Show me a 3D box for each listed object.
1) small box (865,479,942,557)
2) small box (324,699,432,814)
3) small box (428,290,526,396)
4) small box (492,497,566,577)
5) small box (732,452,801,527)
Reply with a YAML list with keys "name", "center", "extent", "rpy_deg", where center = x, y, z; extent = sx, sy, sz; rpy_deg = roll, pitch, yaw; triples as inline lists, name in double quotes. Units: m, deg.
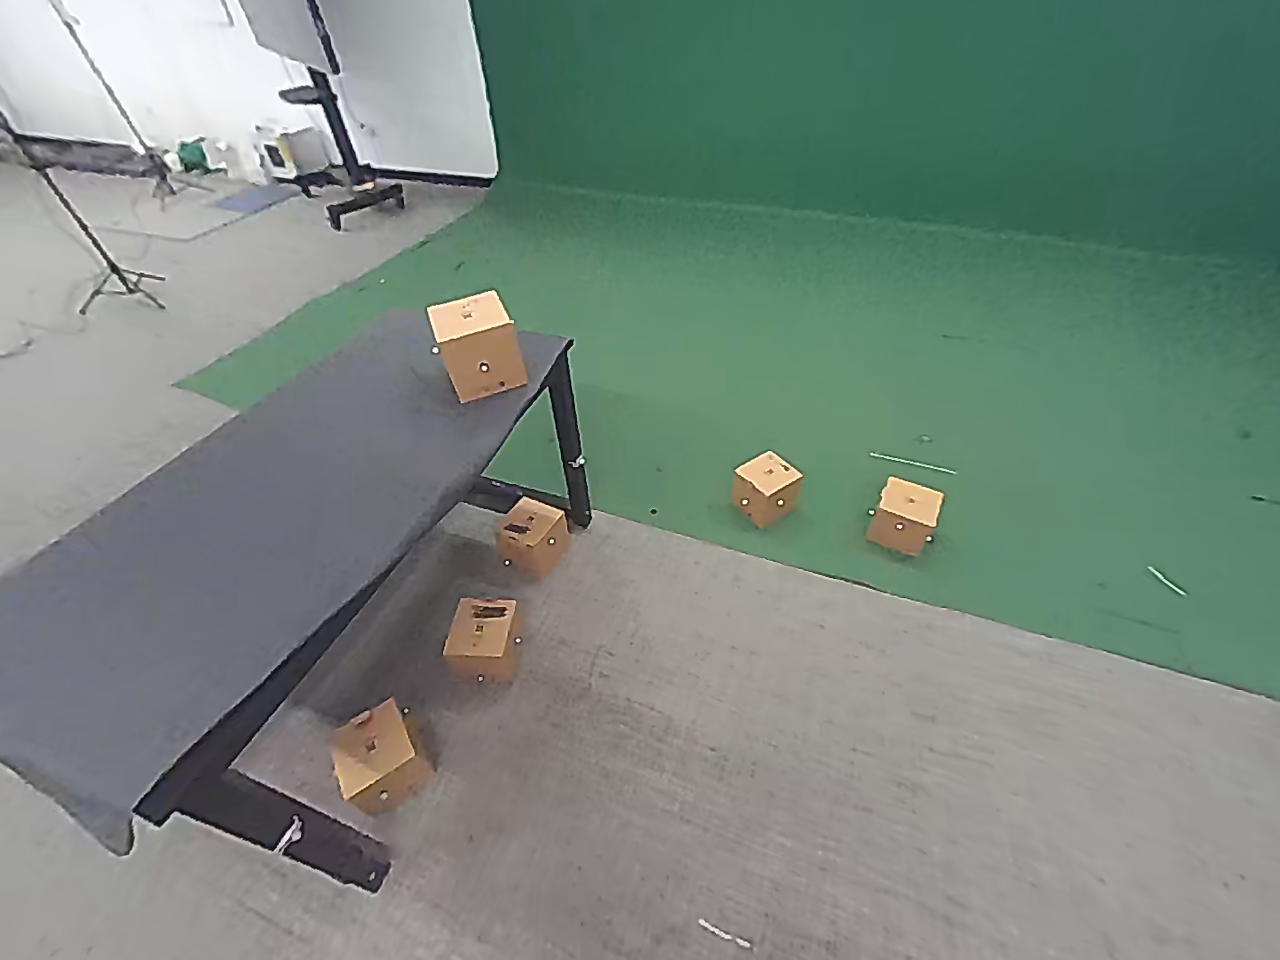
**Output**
- name: "small box"
  center: [0.881, 0.130, 1.820]
  extent: [0.179, 0.176, 0.168]
  rpy_deg: [22, 51, 21]
- name: "small box"
  center: [-0.635, 0.684, 1.324]
  extent: [0.168, 0.176, 0.179]
  rpy_deg: [-28, 50, -23]
- name: "small box"
  center: [-0.380, -0.315, 1.272]
  extent: [0.168, 0.176, 0.179]
  rpy_deg: [-19, 47, -13]
- name: "small box"
  center: [-0.360, 0.193, 1.799]
  extent: [0.168, 0.176, 0.179]
  rpy_deg: [19, 48, 19]
- name: "small box"
  center: [0.444, 0.038, 1.928]
  extent: [0.179, 0.176, 0.168]
  rpy_deg: [-27, 50, -22]
